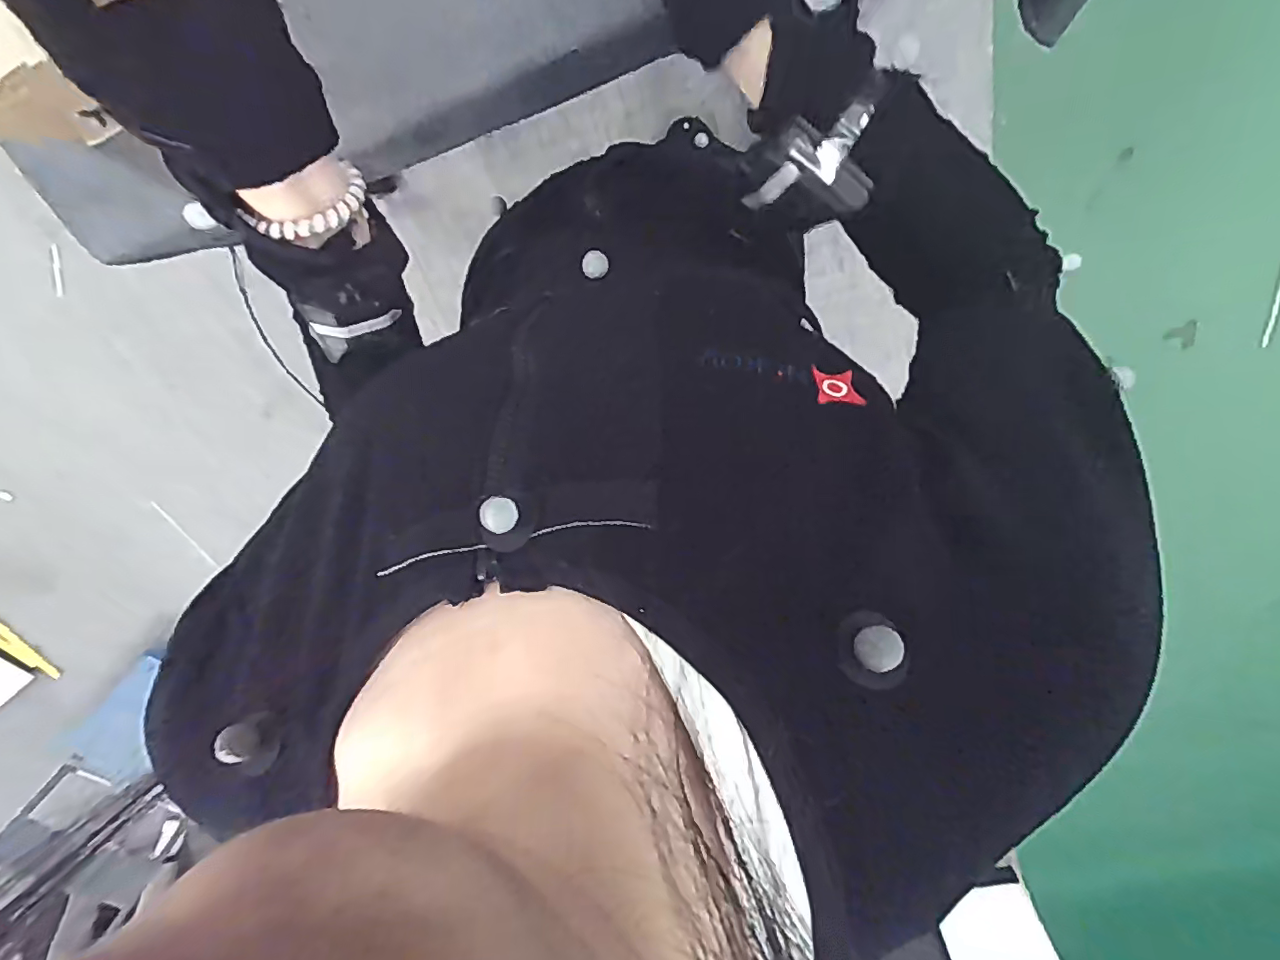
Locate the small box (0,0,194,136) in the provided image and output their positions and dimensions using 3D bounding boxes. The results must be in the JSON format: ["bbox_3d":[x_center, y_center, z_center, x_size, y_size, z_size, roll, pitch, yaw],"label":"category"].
[{"bbox_3d":[-0.552,-0.418,0.455,0.168,0.176,0.179,-18,119,12],"label":"small box"}]
